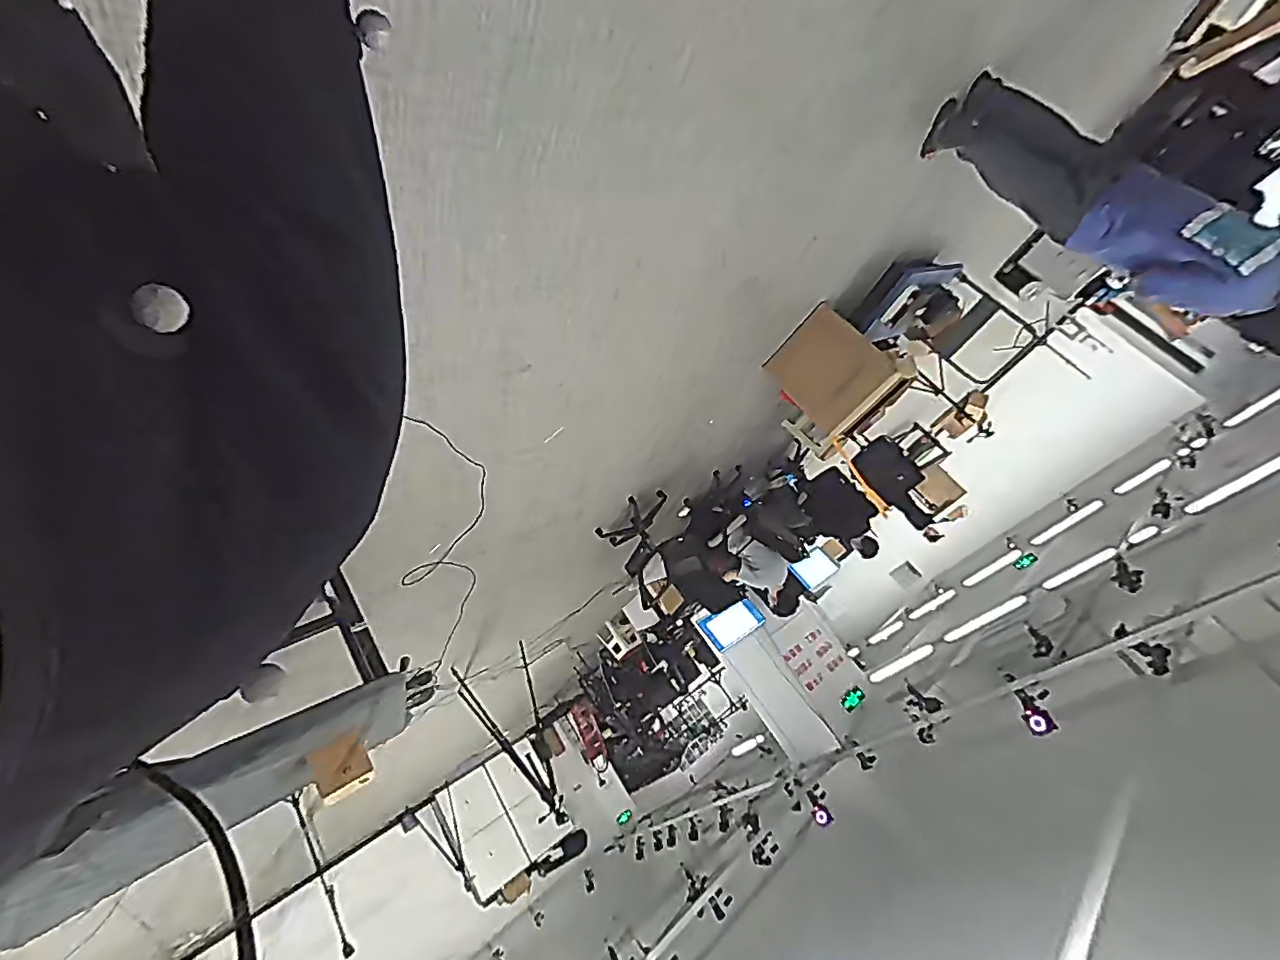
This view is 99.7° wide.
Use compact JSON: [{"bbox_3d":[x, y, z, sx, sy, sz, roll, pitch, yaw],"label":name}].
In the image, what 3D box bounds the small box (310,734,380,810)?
[{"bbox_3d":[-1.072,1.062,1.971,0.179,0.176,0.168,-22,153,-33],"label":"small box"}]
